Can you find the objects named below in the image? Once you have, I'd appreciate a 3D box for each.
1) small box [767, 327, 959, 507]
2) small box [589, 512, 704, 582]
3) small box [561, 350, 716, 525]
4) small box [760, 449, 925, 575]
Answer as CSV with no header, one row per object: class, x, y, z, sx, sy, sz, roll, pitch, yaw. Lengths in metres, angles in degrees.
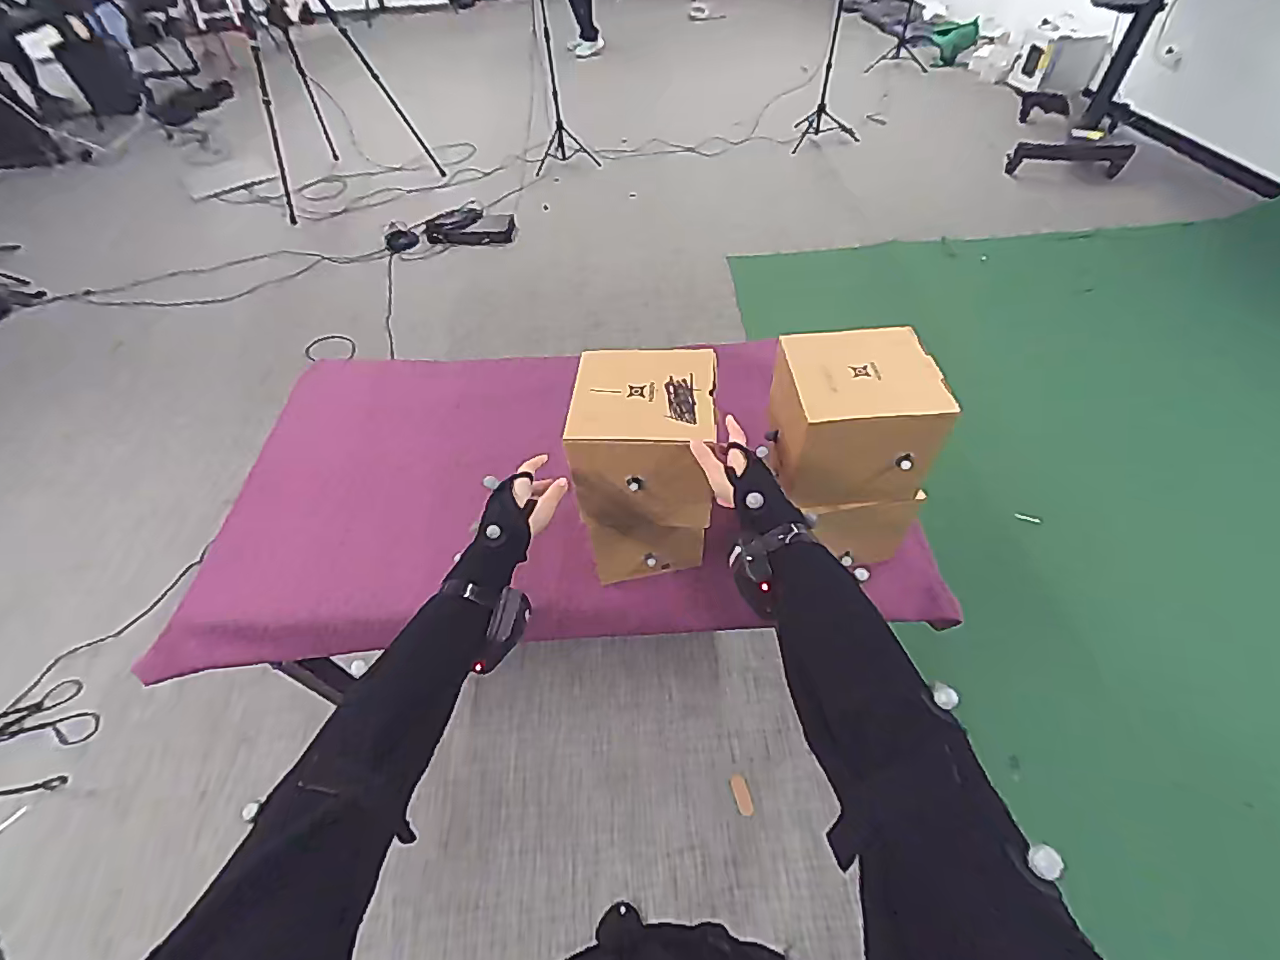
small box,0.277,-0.080,0.720,0.179,0.176,0.168,-4,50,2
small box,0.000,0.036,0.857,0.168,0.176,0.179,-10,50,-3
small box,0.008,-0.053,0.716,0.179,0.176,0.168,1,50,6
small box,0.298,0.030,0.842,0.179,0.176,0.168,-9,50,-1
